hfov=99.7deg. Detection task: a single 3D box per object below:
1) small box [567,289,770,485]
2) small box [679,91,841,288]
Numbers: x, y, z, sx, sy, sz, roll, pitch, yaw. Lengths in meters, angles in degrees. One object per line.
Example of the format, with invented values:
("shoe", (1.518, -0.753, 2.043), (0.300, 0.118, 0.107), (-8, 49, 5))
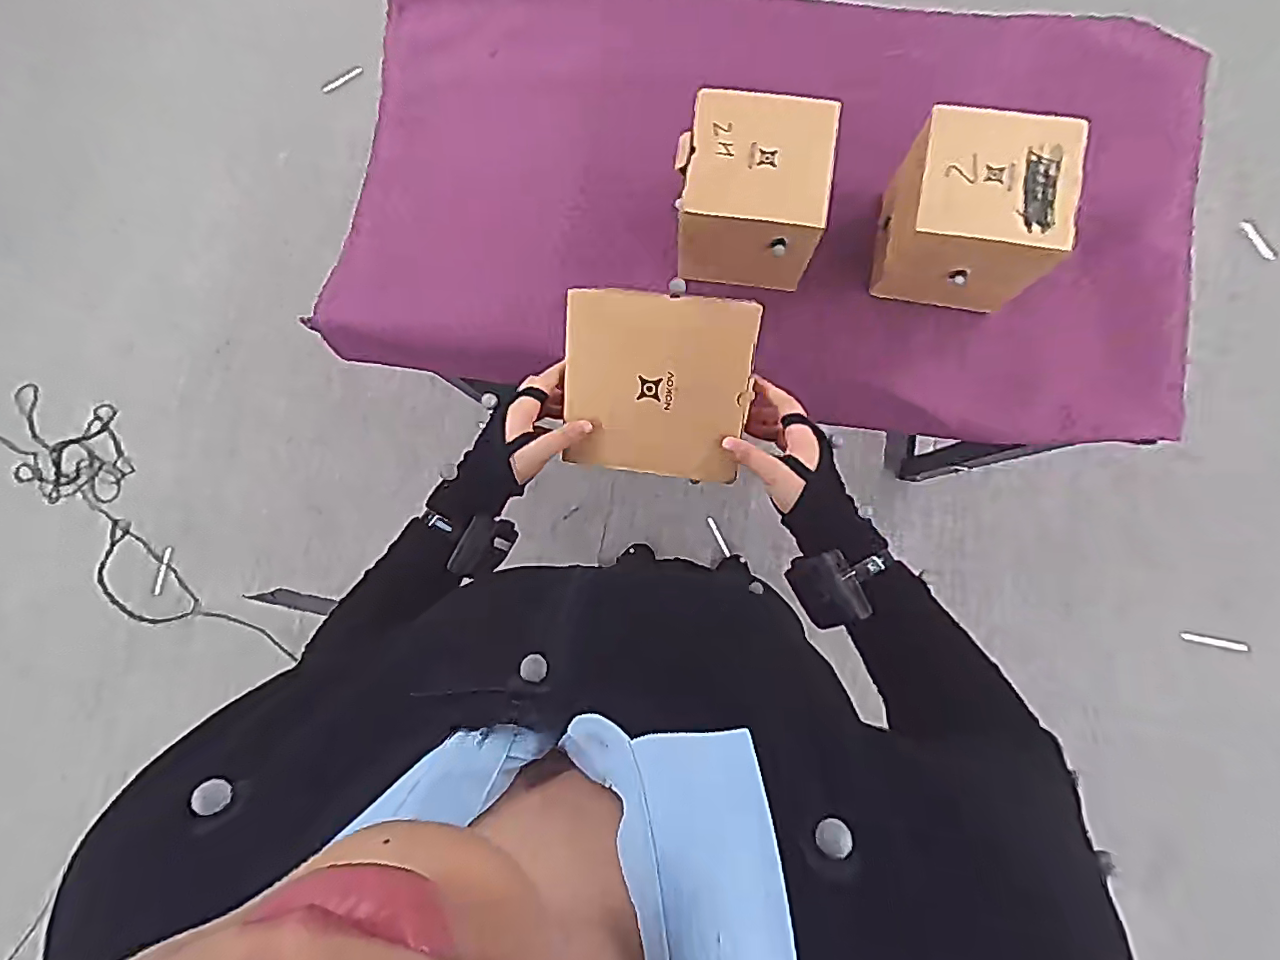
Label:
("small box", (0.032, -0.105, 0.580), (0.179, 0.176, 0.168), (8, 107, 6))
("small box", (0.151, -0.379, 0.733), (0.179, 0.176, 0.168), (8, 84, 5))
